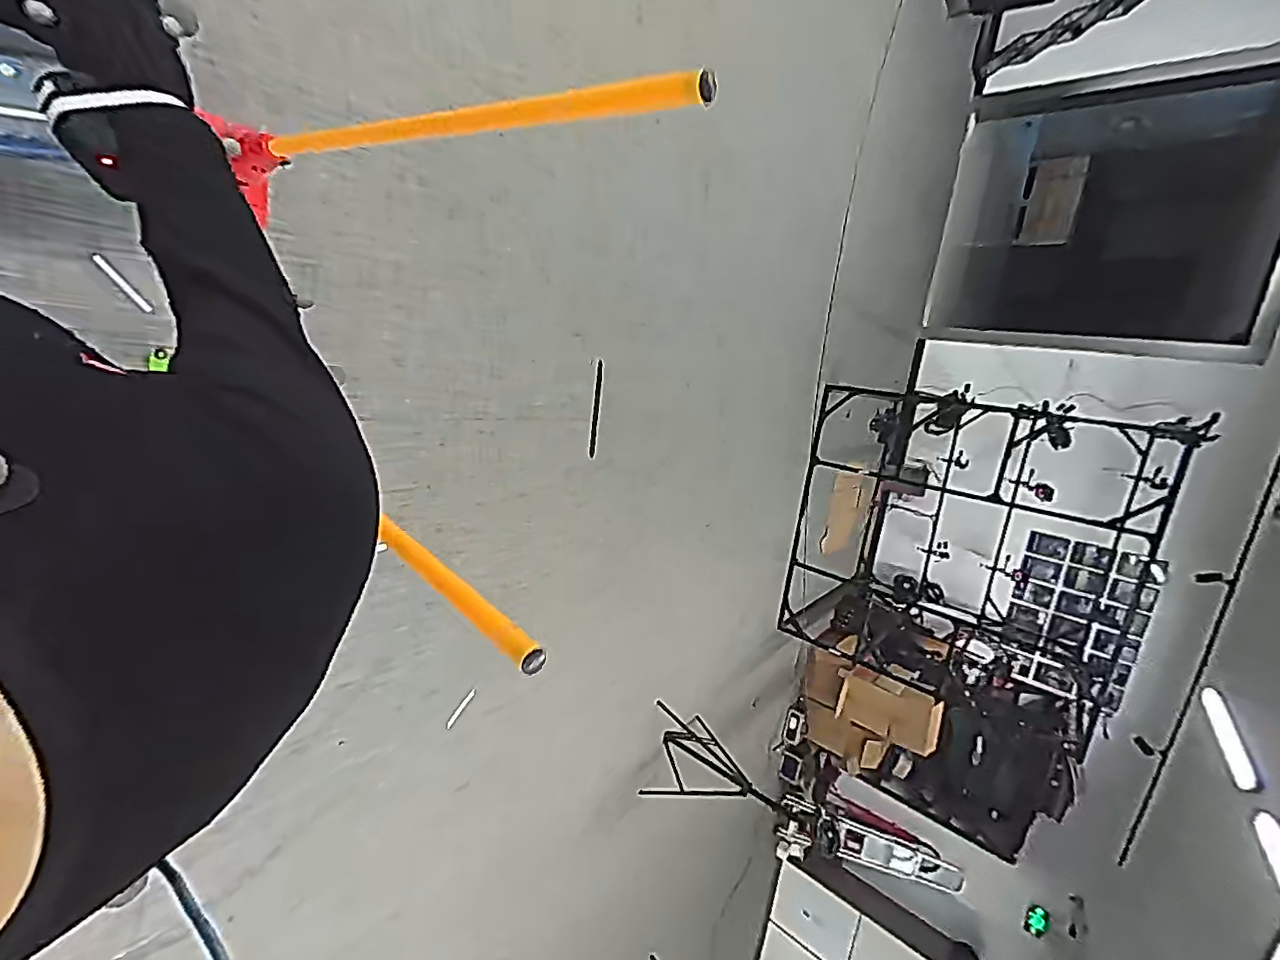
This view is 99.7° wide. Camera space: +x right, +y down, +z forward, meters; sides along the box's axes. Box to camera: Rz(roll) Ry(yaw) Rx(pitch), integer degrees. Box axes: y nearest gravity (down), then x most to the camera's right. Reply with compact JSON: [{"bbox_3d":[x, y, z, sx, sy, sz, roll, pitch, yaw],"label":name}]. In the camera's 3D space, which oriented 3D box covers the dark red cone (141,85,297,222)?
[{"bbox_3d":[-0.739,-0.612,0.996,0.201,0.394,0.202,-8,111,-53],"label":"dark red cone"}]
